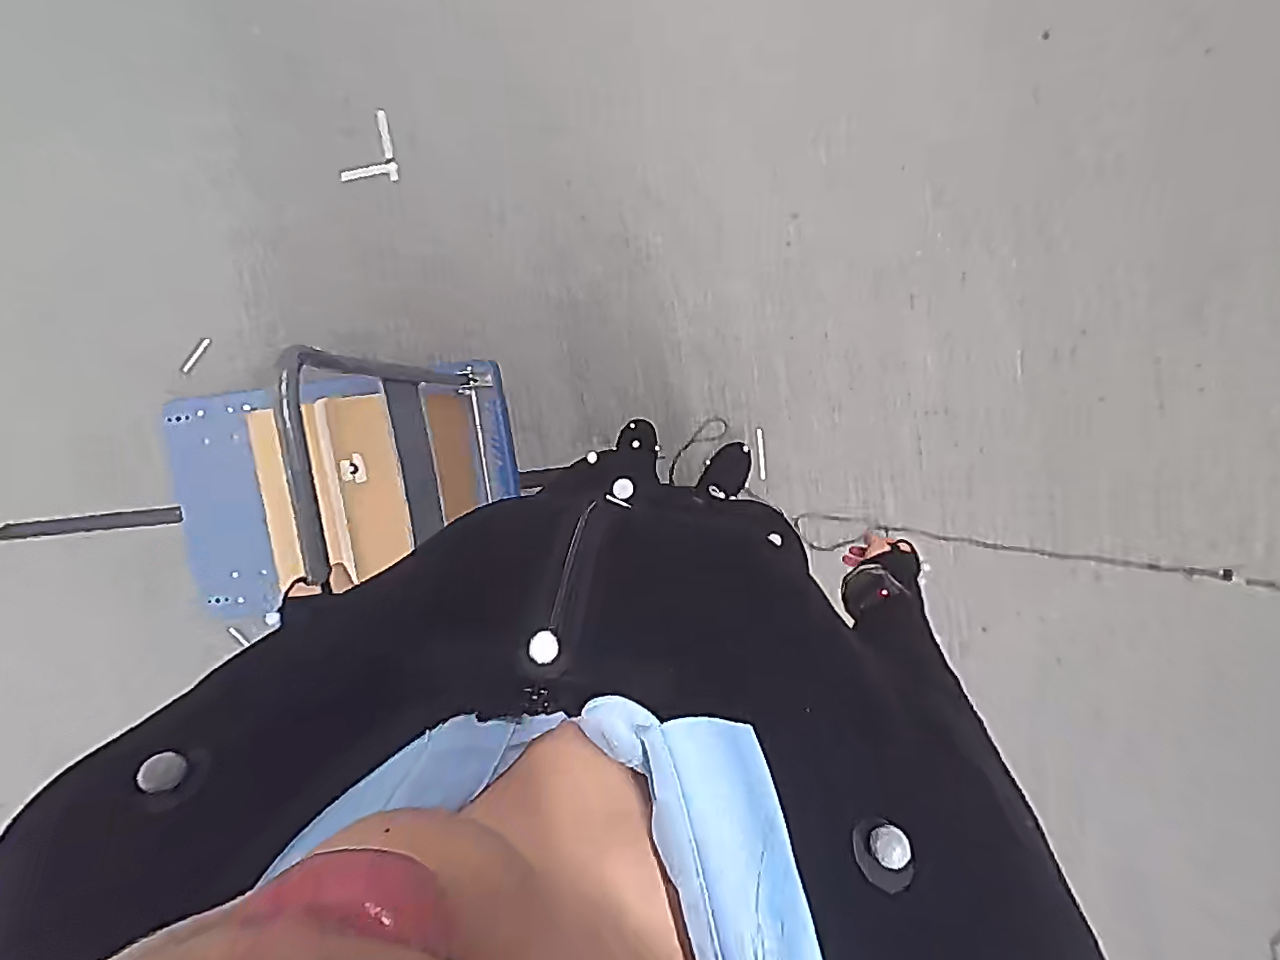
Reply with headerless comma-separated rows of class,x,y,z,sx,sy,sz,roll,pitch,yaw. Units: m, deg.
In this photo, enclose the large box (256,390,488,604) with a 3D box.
large box,-0.566,0.025,1.211,0.320,0.320,0.408,-6,96,4
